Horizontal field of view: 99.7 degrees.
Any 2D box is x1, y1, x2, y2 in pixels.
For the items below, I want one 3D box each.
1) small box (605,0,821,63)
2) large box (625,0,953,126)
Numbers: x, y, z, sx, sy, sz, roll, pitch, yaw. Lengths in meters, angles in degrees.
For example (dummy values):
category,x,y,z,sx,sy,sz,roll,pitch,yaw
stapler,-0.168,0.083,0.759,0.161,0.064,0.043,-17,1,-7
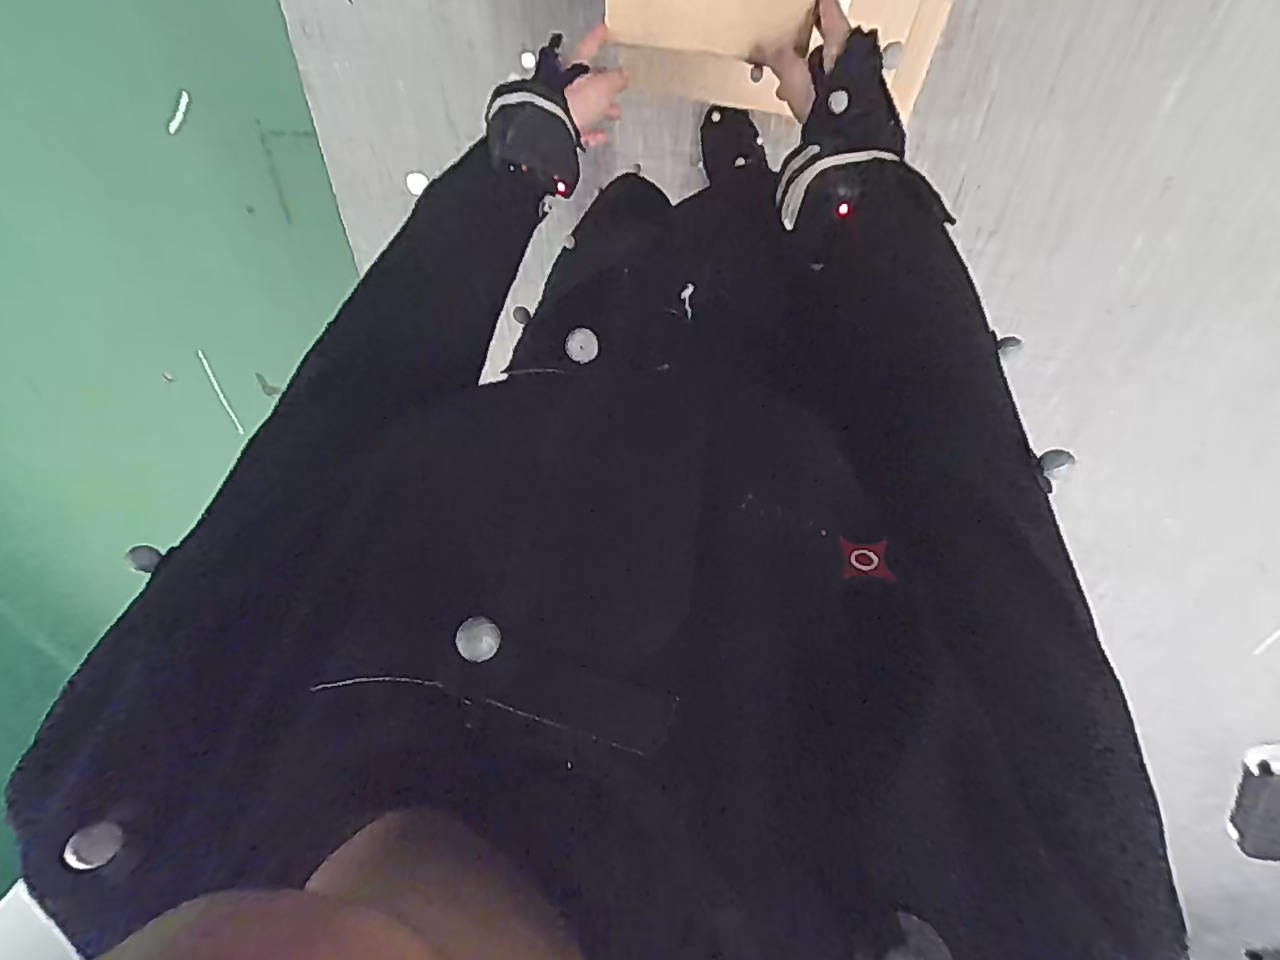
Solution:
category,x,y,z,sx,sy,sz,roll,pitch,yaw
small box,0.077,-0.473,0.467,0.179,0.176,0.168,11,129,5
large box,0.212,-0.725,0.764,0.408,0.320,0.320,12,131,4
